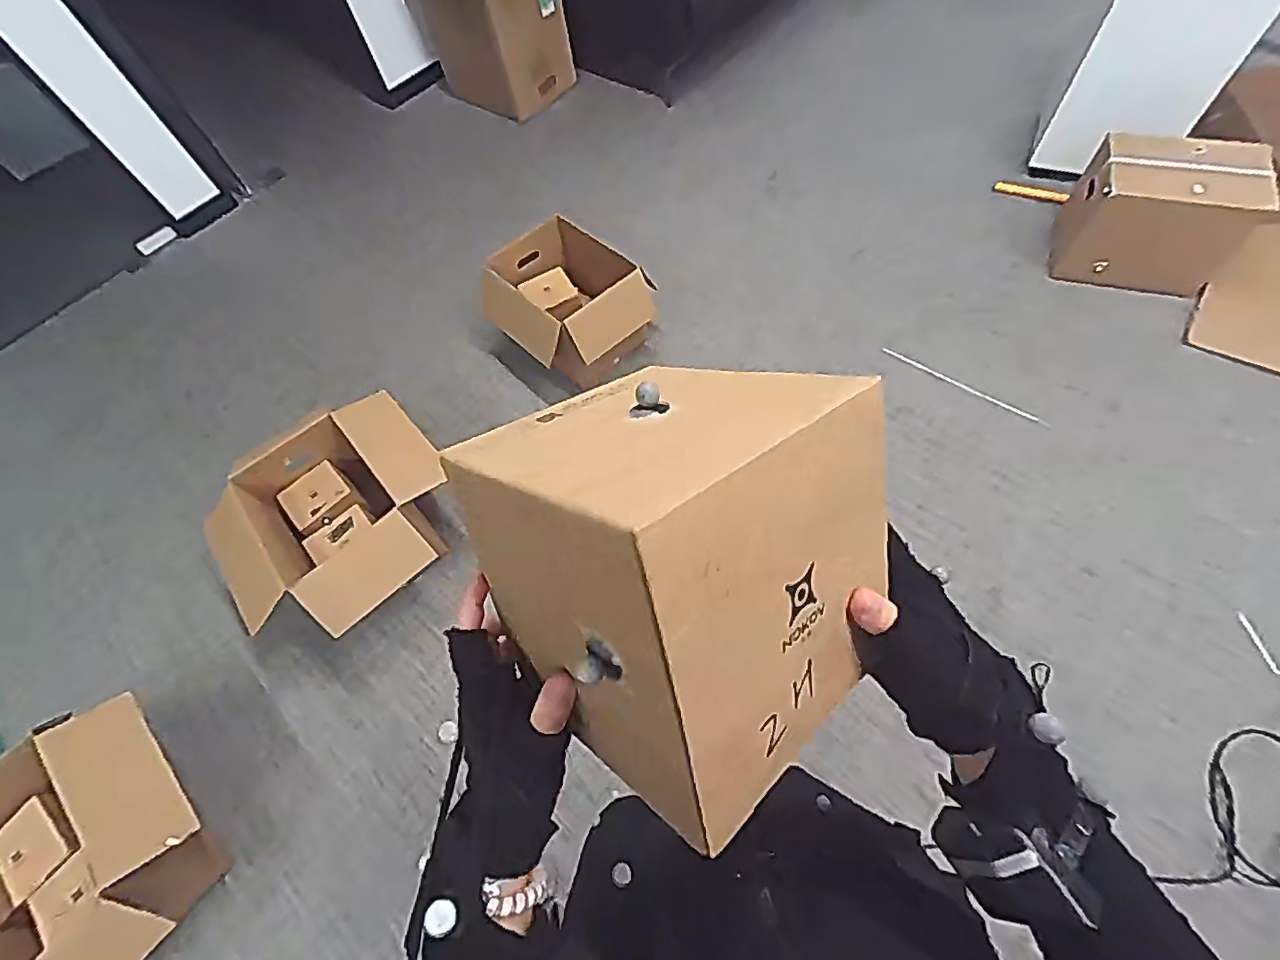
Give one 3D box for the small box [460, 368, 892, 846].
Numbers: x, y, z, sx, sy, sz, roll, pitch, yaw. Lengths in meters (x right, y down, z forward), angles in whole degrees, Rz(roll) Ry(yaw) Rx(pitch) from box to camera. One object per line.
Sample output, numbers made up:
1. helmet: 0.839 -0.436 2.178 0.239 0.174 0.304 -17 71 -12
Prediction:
1. small box: 0.023 0.041 0.309 0.168 0.179 0.176 -27 27 -35
